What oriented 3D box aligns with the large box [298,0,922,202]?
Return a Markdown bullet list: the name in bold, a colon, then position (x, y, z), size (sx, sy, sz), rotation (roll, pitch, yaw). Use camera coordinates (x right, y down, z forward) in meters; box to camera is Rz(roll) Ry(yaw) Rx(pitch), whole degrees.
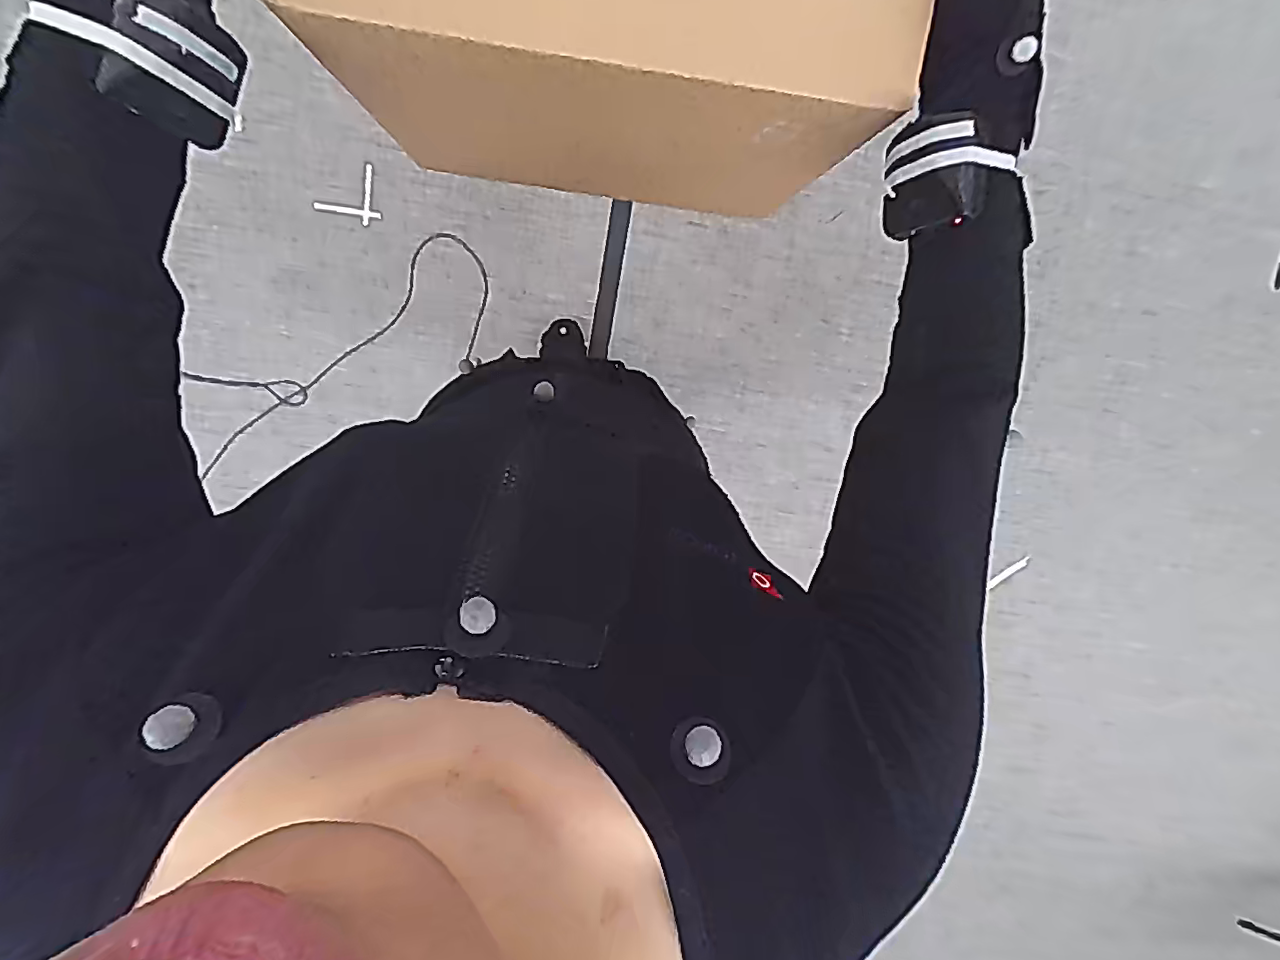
- **large box**: position (-0.018, -0.457, 0.453), size (0.408, 0.320, 0.320), rotation (4, 104, -7)
